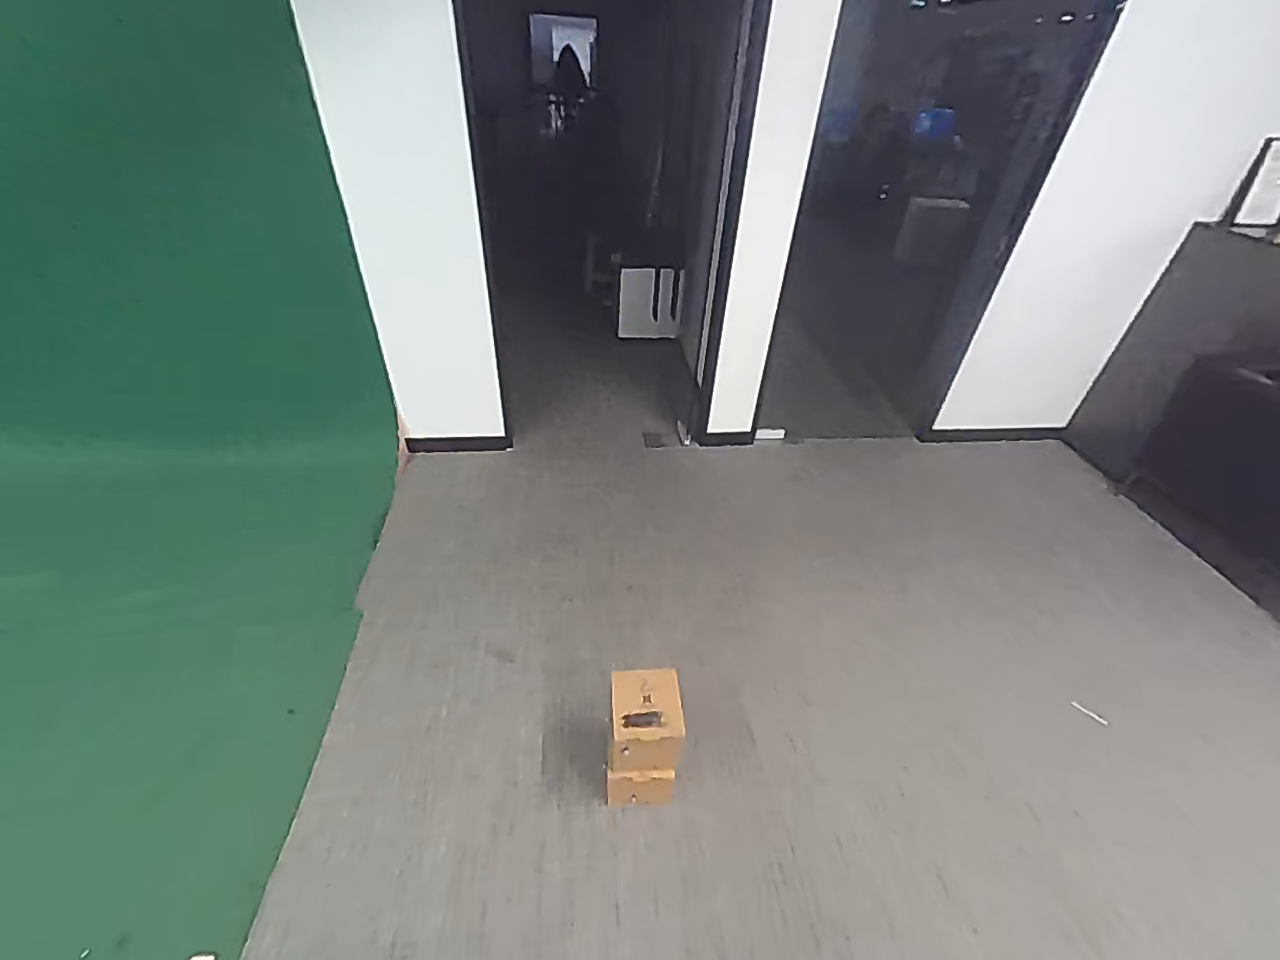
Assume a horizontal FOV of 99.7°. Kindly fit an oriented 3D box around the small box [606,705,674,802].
[{"bbox_3d":[-0.004,0.723,1.432,0.168,0.176,0.179,2,39,-3],"label":"small box"}]
